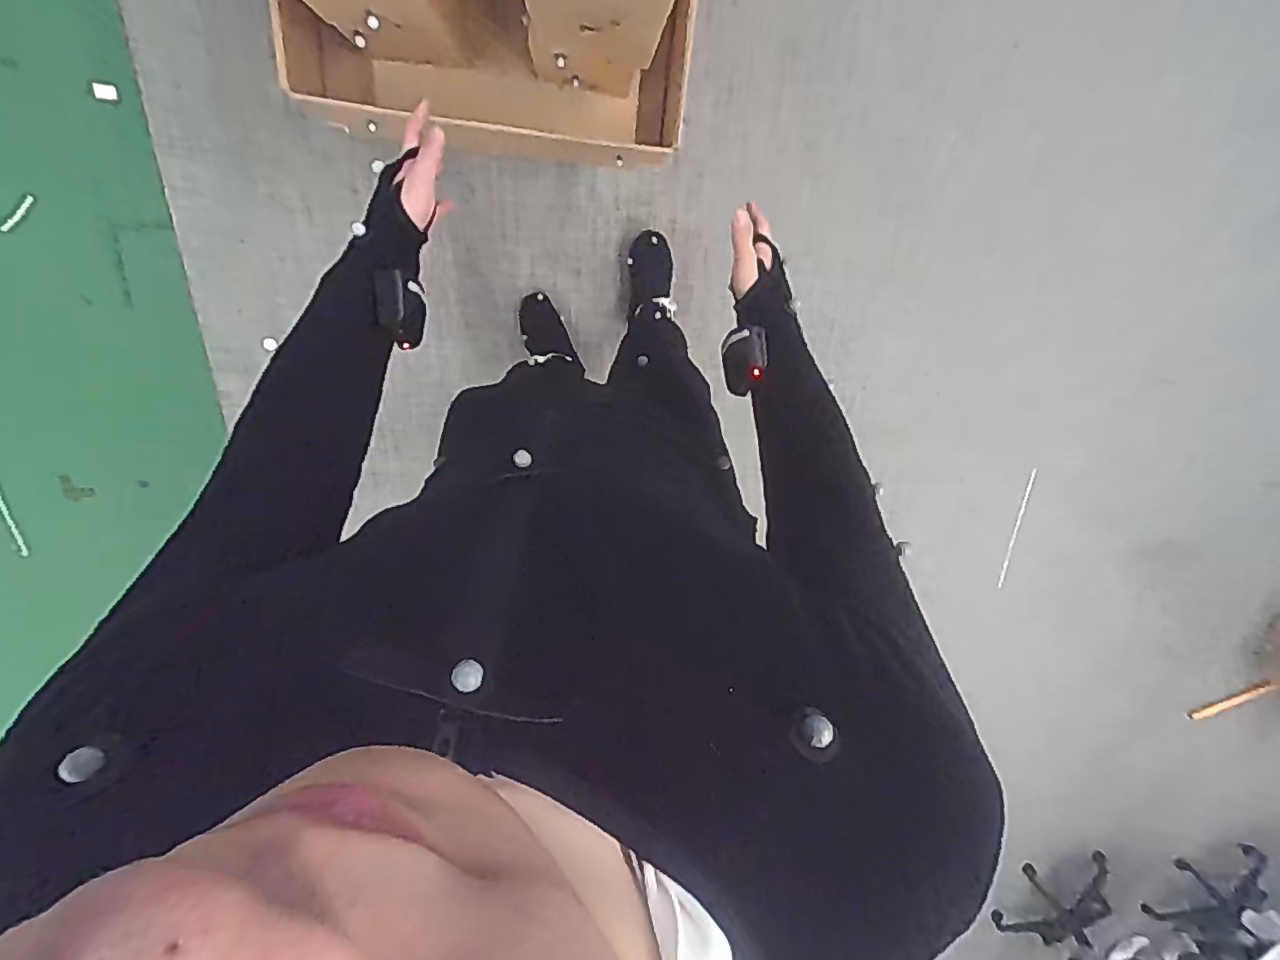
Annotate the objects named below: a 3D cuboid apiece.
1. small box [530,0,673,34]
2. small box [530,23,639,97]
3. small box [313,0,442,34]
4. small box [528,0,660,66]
[{"bbox_3d":[-0.039,-0.603,0.553,0.168,0.176,0.179,1,112,-7],"label":"small box"},{"bbox_3d":[-0.079,-0.739,0.849,0.168,0.176,0.179,5,112,-9],"label":"small box"},{"bbox_3d":[-0.347,-0.691,0.658,0.168,0.176,0.179,2,112,-7],"label":"small box"},{"bbox_3d":[-0.055,-0.670,0.702,0.168,0.176,0.179,1,112,-7],"label":"small box"}]
